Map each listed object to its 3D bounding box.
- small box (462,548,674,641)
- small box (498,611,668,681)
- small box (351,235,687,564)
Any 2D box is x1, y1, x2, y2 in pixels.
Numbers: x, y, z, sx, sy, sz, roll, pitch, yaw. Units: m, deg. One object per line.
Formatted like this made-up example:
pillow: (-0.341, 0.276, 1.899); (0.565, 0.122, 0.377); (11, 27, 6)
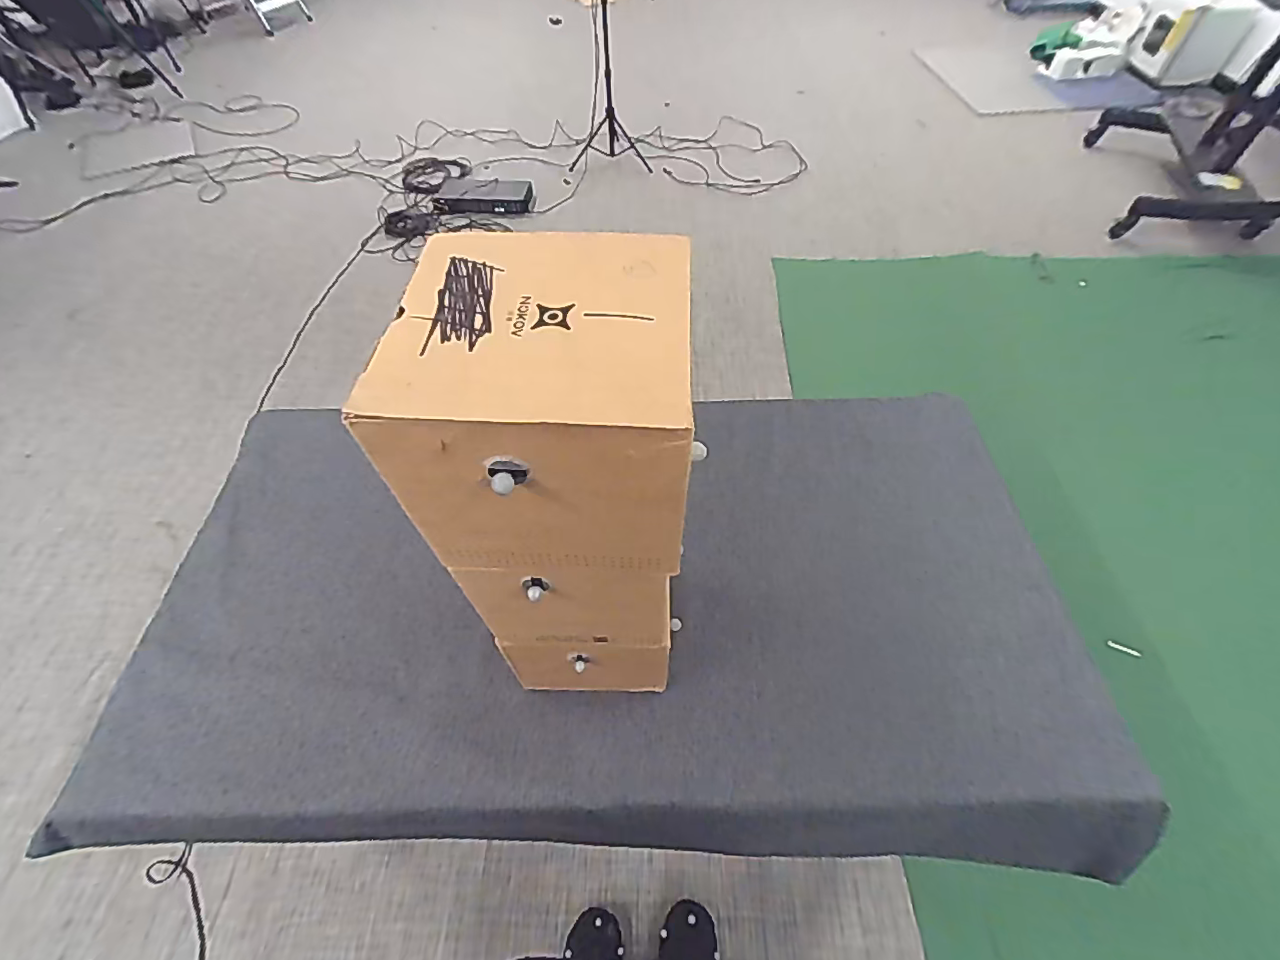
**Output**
small box: (-0.056, 0.042, 0.525); (0.168, 0.176, 0.179); (0, 55, 0)
small box: (-0.055, 0.138, 0.655); (0.179, 0.176, 0.168); (1, 55, 1)
small box: (-0.058, -0.050, 0.386); (0.179, 0.176, 0.168); (3, 55, 2)
